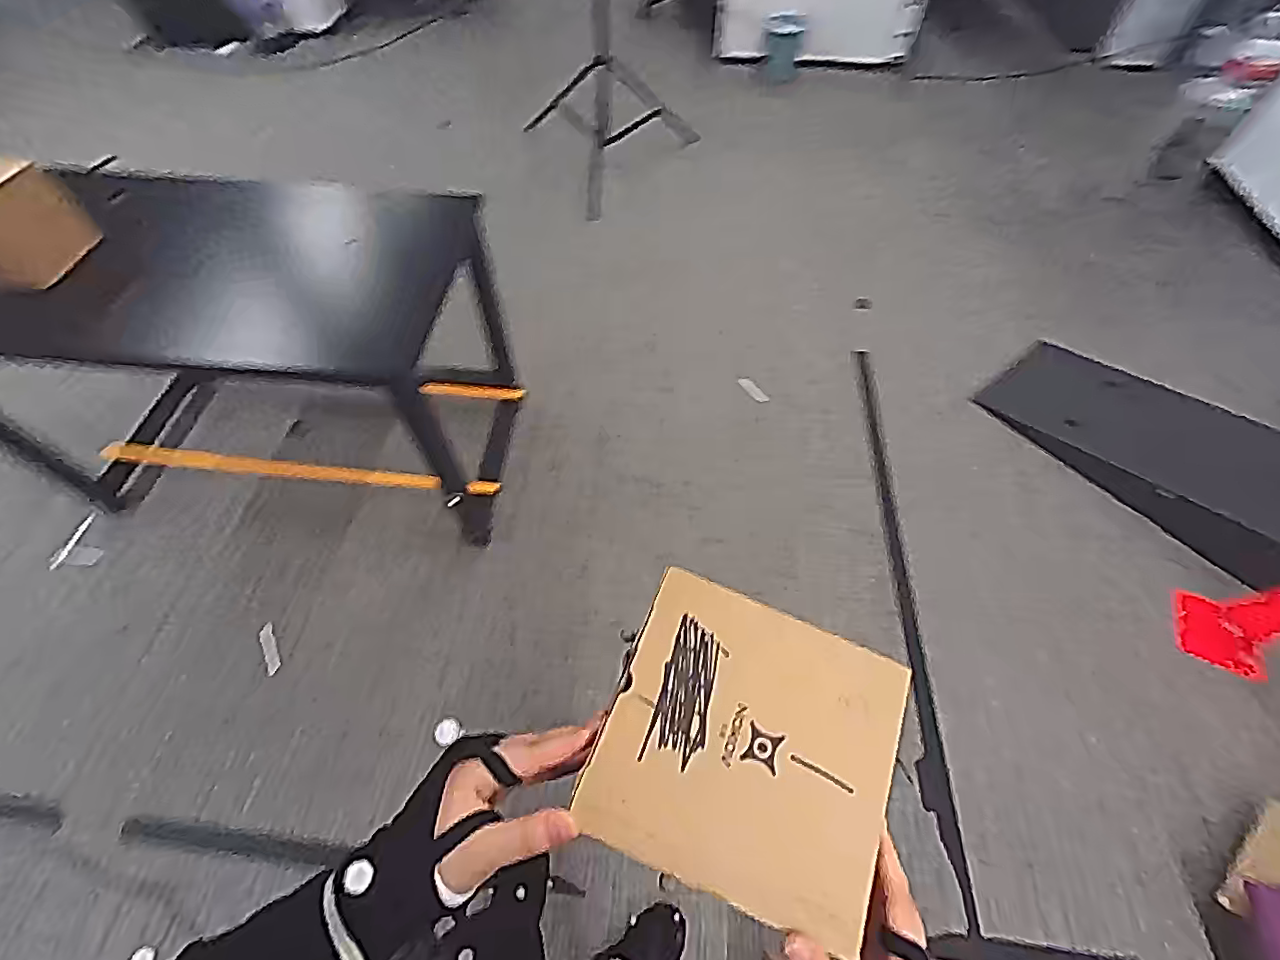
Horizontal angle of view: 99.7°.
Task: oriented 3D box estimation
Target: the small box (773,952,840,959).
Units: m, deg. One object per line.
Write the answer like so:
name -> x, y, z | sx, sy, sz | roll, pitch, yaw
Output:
small box -> 0.340, 1.000, 0.998 | 0.179, 0.176, 0.168 | 5, 57, 3

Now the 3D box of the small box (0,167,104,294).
small box -> -1.260, -0.504, 1.092 | 0.168, 0.176, 0.179 | 3, 58, 2

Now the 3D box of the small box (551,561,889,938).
small box -> 0.052, 0.187, 0.406 | 0.179, 0.176, 0.168 | 21, 65, 5
